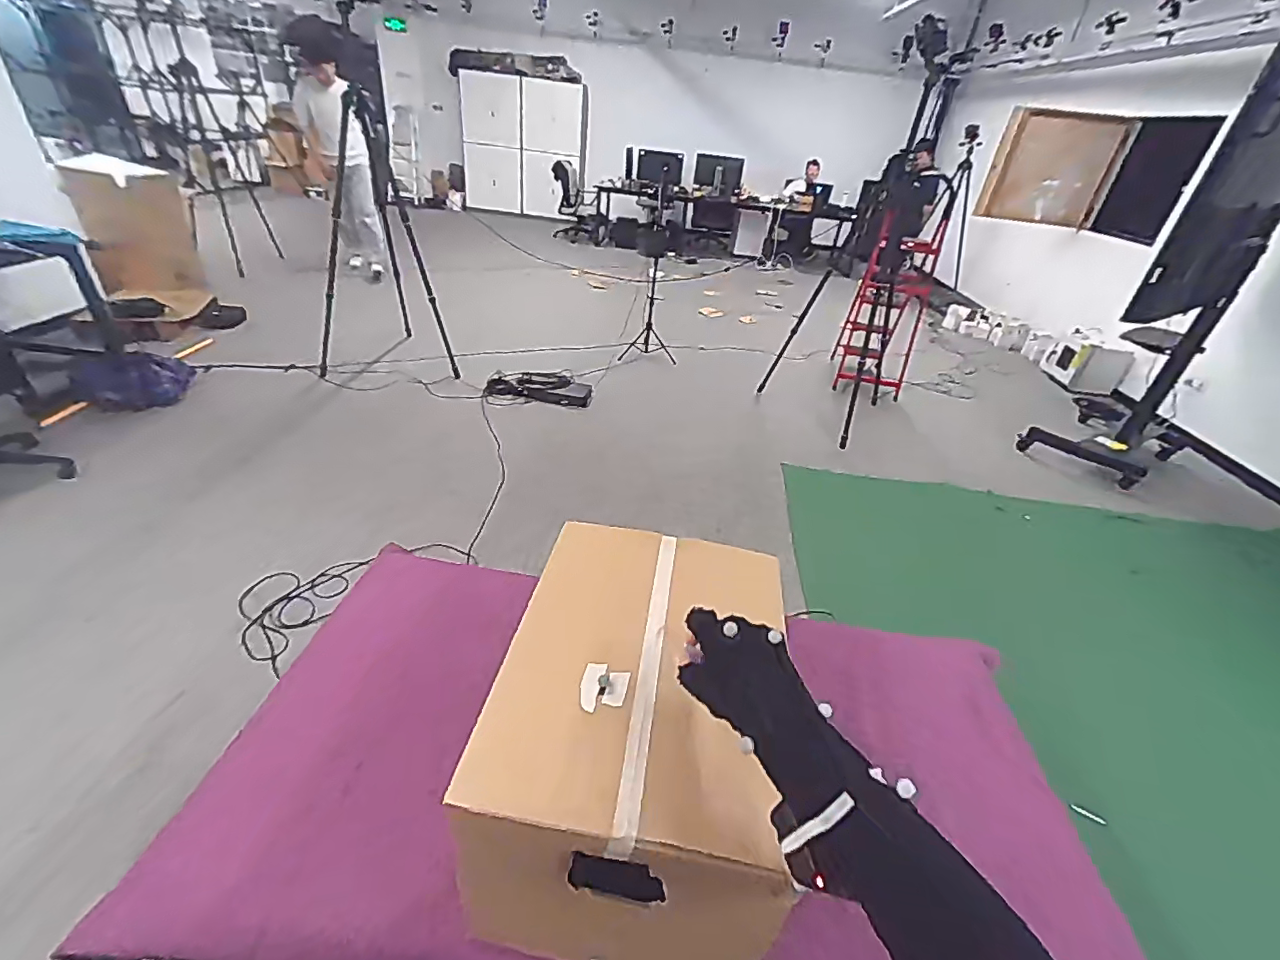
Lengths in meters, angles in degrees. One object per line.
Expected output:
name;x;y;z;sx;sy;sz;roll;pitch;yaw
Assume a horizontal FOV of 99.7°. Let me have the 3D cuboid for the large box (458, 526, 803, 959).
large box;-0.004;0.323;0.709;0.320;0.320;0.408;10;34;4
